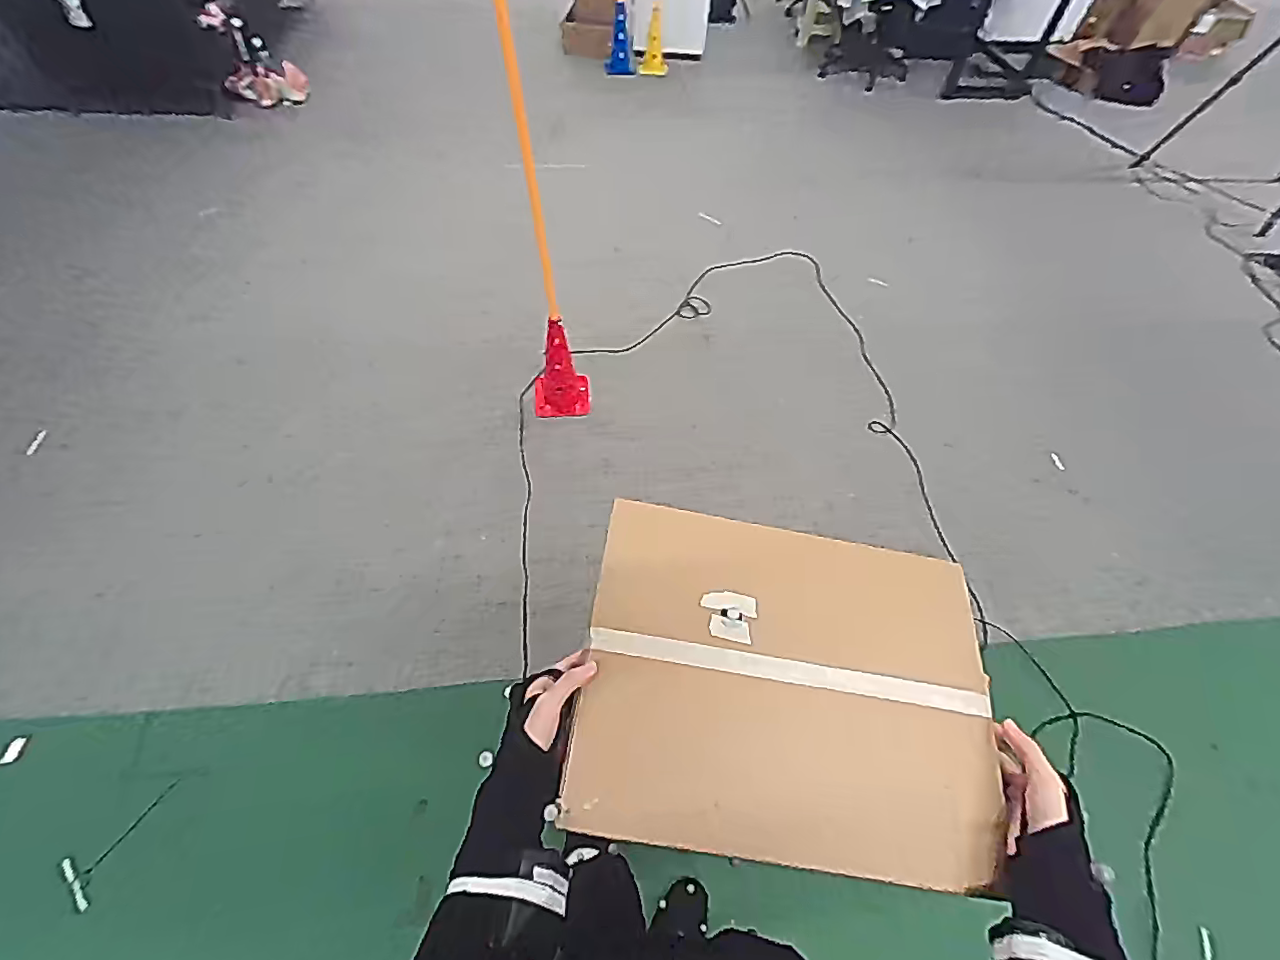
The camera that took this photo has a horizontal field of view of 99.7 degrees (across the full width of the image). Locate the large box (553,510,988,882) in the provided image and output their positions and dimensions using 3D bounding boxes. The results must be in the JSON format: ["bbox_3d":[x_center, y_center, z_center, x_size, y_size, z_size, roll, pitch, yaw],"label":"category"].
[{"bbox_3d":[0.122,0.264,0.677,0.408,0.320,0.320,10,61,-3],"label":"large box"}]
